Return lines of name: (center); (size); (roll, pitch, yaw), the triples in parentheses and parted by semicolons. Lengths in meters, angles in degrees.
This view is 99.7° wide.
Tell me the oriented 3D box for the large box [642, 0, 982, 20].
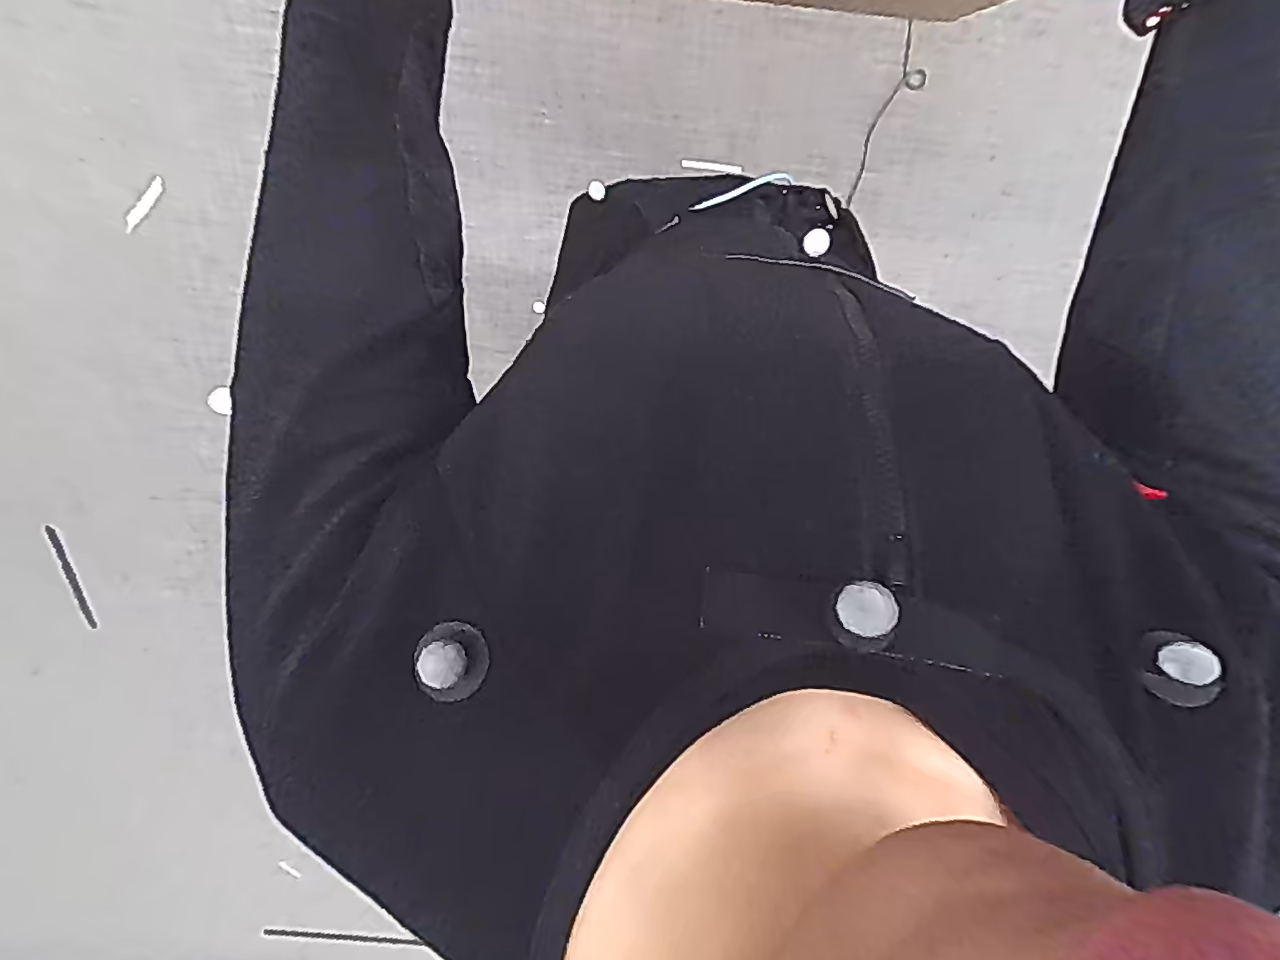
large box: (0.133, -0.556, 0.375); (0.408, 0.320, 0.320); (5, 124, -1)
